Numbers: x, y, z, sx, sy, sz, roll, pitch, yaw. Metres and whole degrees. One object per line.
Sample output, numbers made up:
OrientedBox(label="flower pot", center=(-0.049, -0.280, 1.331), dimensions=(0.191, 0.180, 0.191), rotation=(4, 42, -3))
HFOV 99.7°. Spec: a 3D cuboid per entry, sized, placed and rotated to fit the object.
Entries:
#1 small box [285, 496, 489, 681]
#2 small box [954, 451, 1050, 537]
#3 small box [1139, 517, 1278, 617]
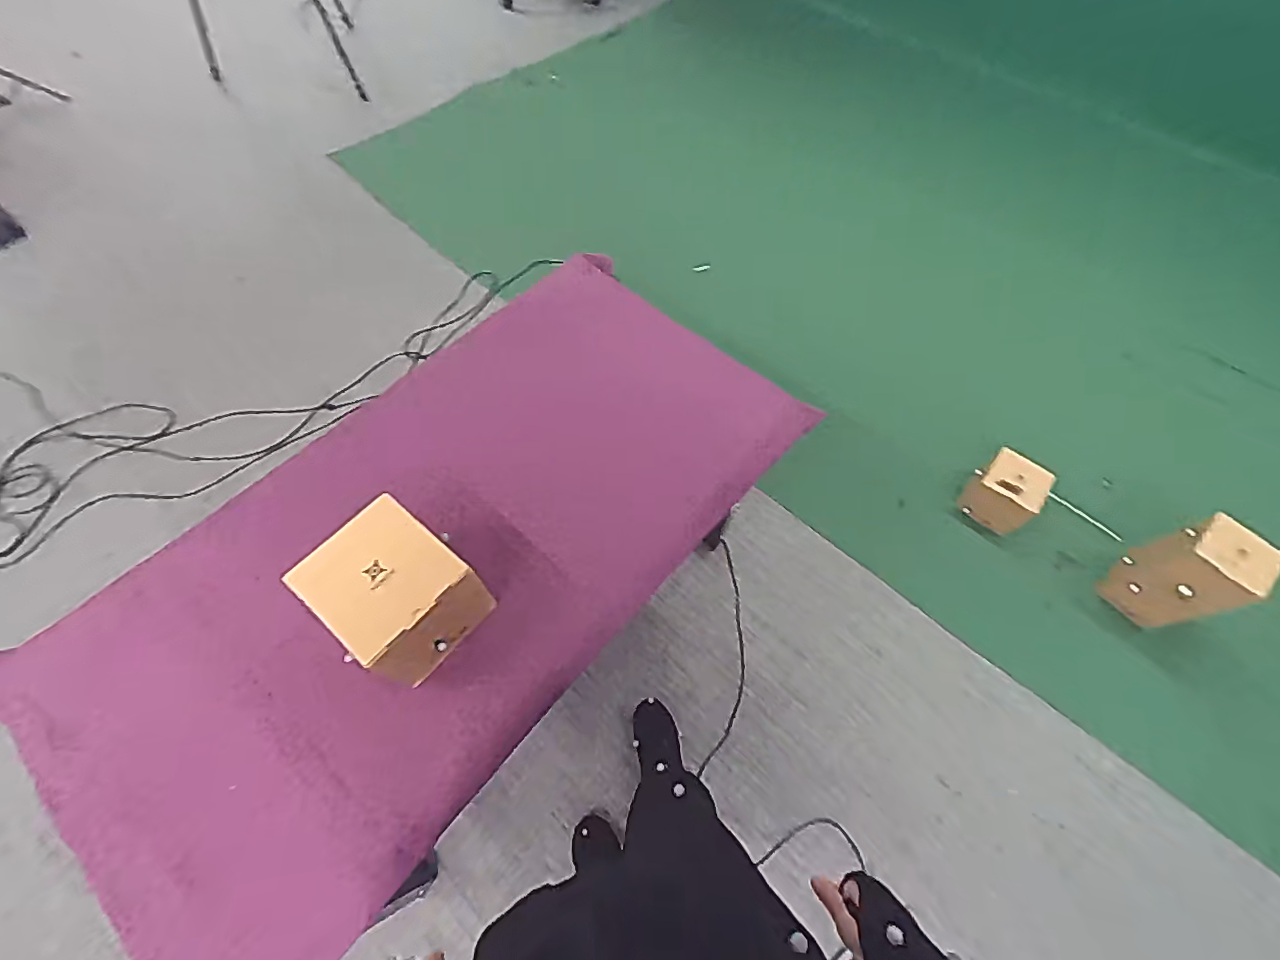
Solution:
OrientedBox(label="small box", center=(-0.344, 0.162, 0.769), dimensions=(0.179, 0.176, 0.168), rotation=(36, 66, 16))
OrientedBox(label="small box", center=(1.138, 0.050, 1.714), dimensions=(0.168, 0.176, 0.179), rotation=(37, 65, 17))
OrientedBox(label="small box", center=(1.500, 0.235, 1.438), dimensions=(0.179, 0.176, 0.168), rotation=(-37, 69, -20))
